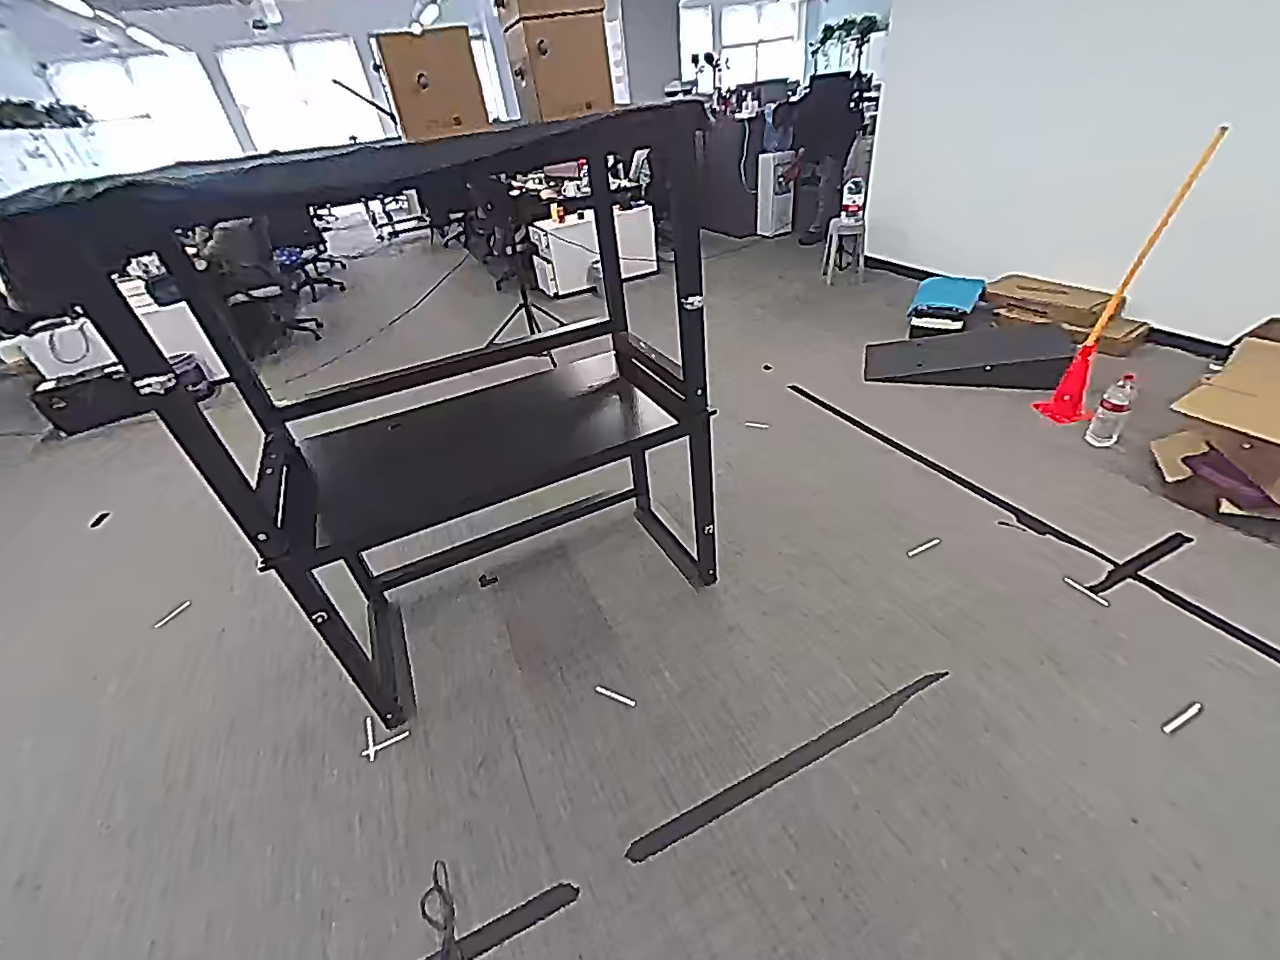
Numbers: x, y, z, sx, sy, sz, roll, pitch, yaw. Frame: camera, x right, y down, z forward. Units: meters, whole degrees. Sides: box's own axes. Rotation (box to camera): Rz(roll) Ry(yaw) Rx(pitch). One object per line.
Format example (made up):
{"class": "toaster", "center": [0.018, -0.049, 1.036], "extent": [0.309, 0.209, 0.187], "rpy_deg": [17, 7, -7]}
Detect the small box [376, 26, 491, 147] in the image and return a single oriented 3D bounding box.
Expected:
{"class": "small box", "center": [-0.405, -0.770, 1.072], "extent": [0.168, 0.176, 0.179], "rpy_deg": [-19, 36, -14]}

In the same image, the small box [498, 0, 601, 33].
{"class": "small box", "center": [-0.182, -0.978, 1.034], "extent": [0.179, 0.176, 0.168], "rpy_deg": [-21, 35, -15]}
